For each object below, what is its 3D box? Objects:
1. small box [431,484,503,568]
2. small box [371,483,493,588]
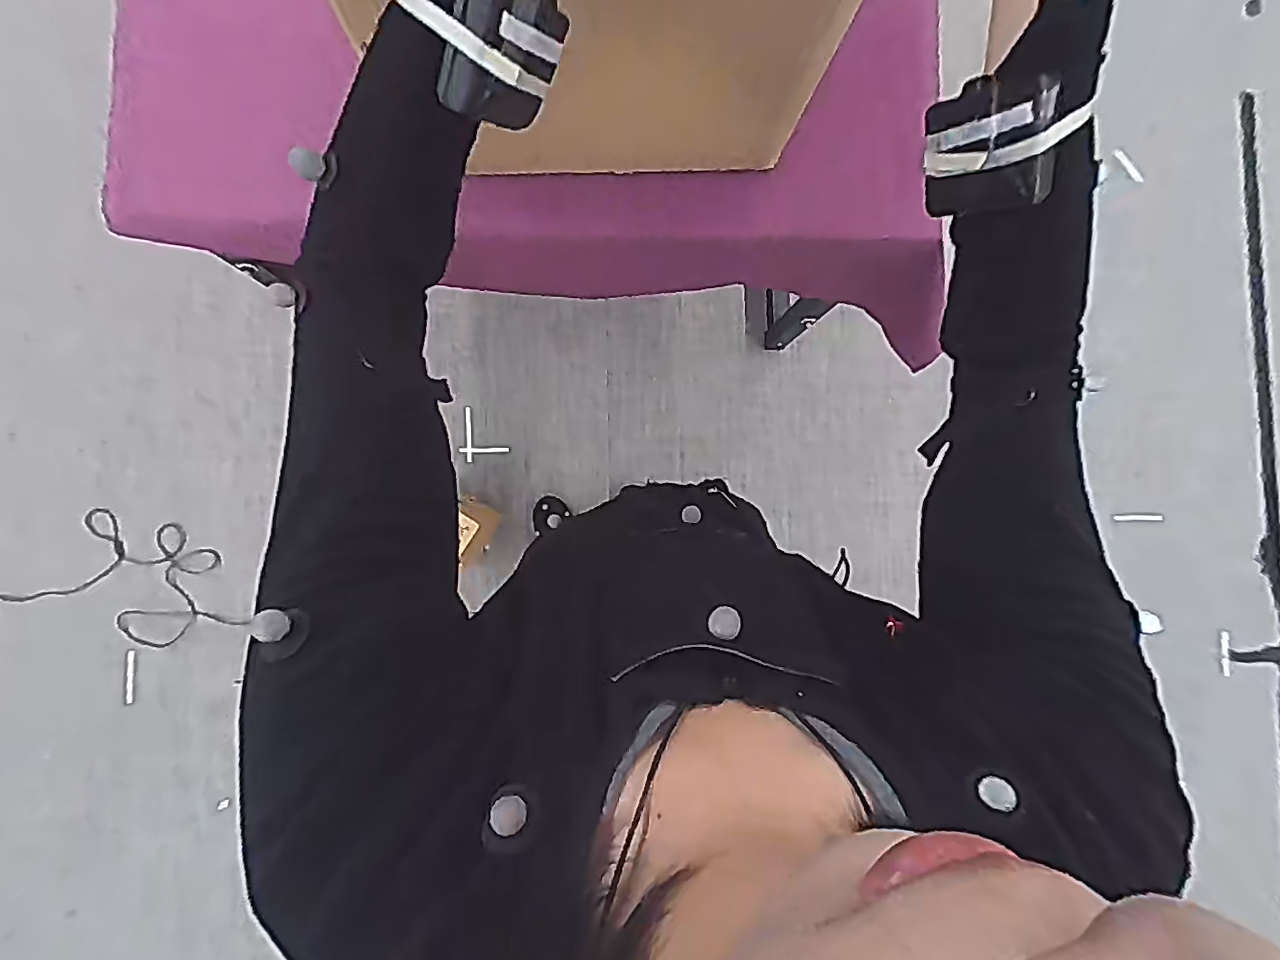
[{"bbox_3d":[-0.481,0.125,1.400,0.179,0.176,0.168,31,86,-3],"label":"small box"},{"bbox_3d":[-0.465,0.123,1.237,0.179,0.176,0.168,33,86,-2],"label":"small box"}]
